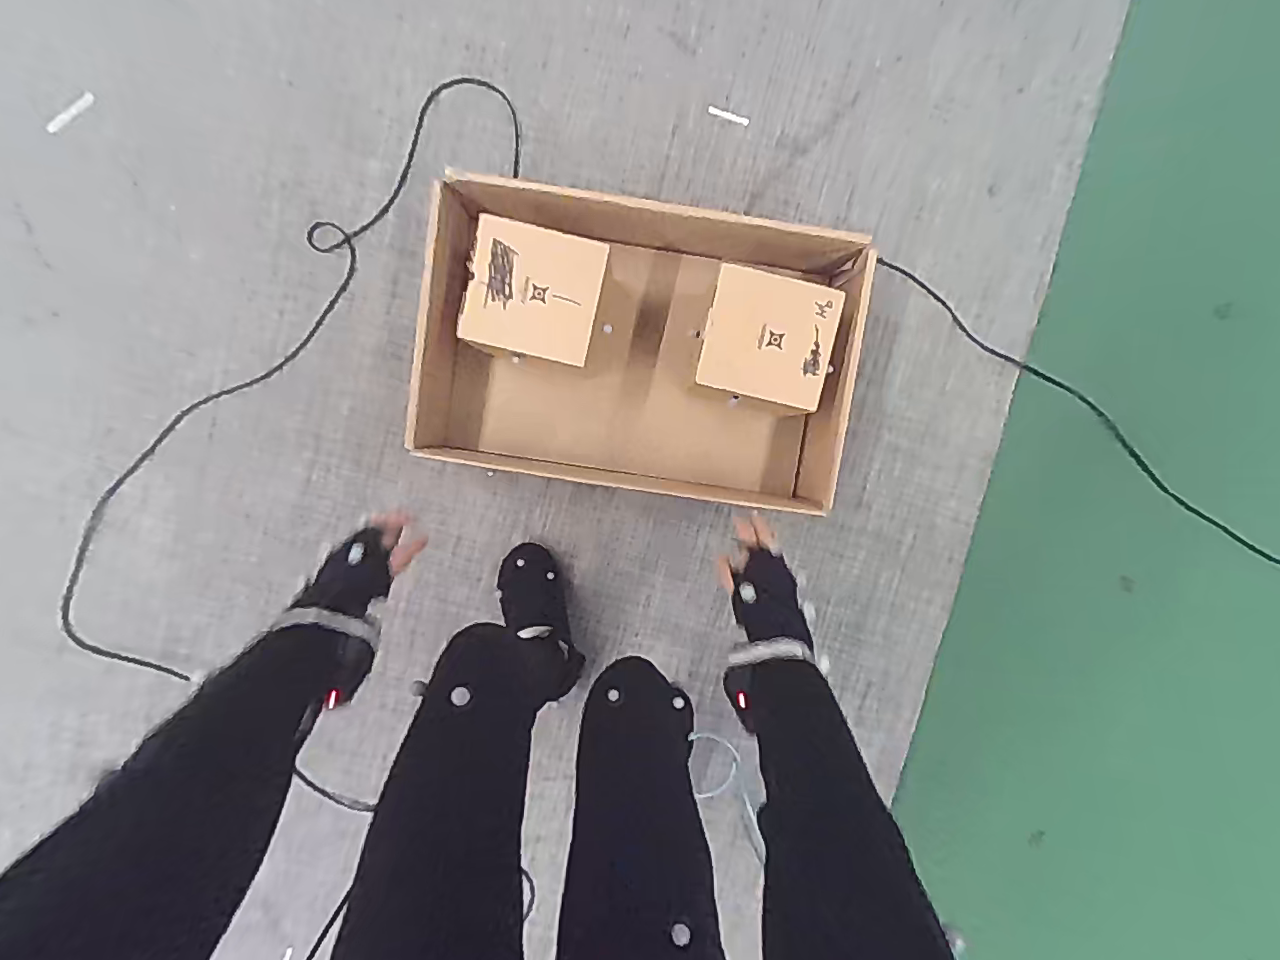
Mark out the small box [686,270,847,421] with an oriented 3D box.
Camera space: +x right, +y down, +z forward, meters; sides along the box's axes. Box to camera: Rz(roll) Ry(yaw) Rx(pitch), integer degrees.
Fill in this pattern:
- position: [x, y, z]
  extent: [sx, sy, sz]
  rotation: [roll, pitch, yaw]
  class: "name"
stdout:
- position: [0.174, -0.188, 0.808]
  extent: [0.179, 0.176, 0.168]
  rotation: [14, 94, -2]
  class: "small box"
